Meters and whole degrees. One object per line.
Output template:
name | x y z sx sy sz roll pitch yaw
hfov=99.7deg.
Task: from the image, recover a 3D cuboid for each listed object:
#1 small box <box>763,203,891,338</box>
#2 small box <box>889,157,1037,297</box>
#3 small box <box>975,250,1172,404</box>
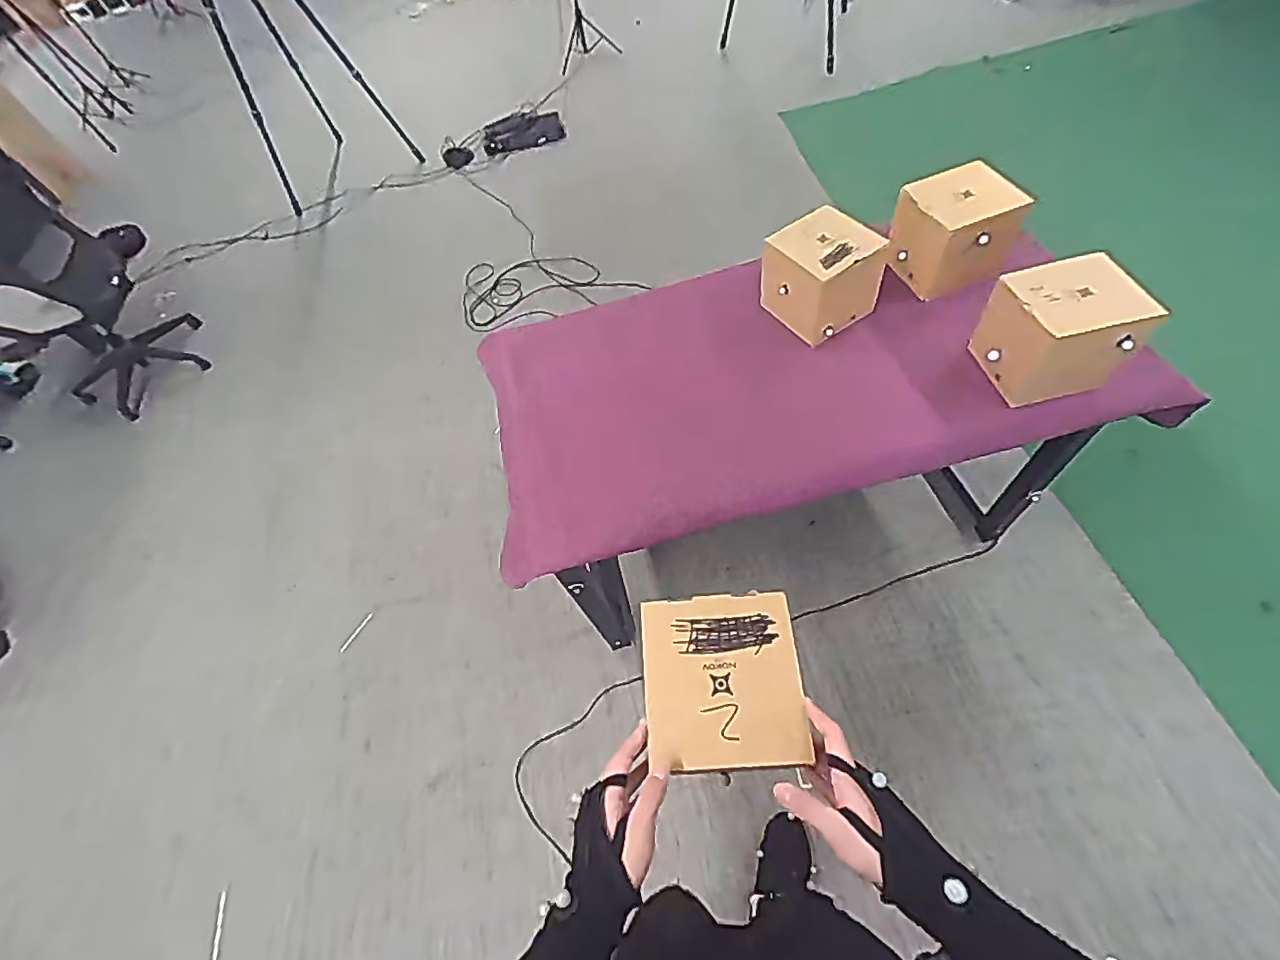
small box | 0.368 -0.416 1.097 0.168 0.176 0.179 -32 58 -9
small box | 0.642 -0.510 1.103 0.179 0.176 0.168 -21 58 0
small box | 0.722 -0.256 0.928 0.179 0.176 0.168 -12 56 4
